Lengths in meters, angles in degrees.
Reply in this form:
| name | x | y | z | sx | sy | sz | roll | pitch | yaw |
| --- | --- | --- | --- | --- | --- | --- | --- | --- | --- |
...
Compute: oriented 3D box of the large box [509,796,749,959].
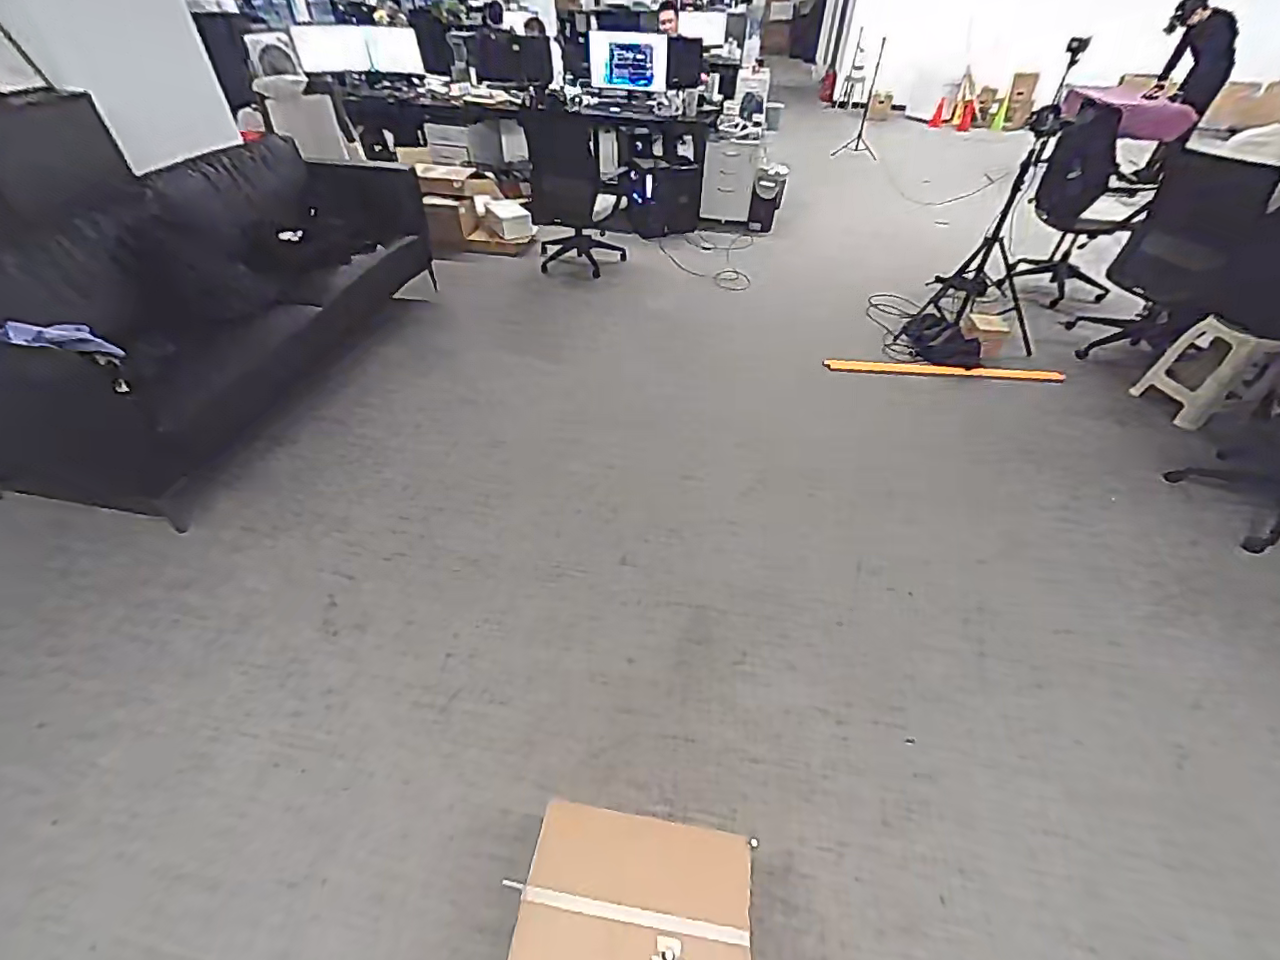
| name | x | y | z | sx | sy | sz | roll | pitch | yaw |
| --- | --- | --- | --- | --- | --- | --- | --- | --- | --- |
| large box | -0.013 | 0.869 | 1.055 | 0.408 | 0.320 | 0.320 | 7 | 43 | 6 |
